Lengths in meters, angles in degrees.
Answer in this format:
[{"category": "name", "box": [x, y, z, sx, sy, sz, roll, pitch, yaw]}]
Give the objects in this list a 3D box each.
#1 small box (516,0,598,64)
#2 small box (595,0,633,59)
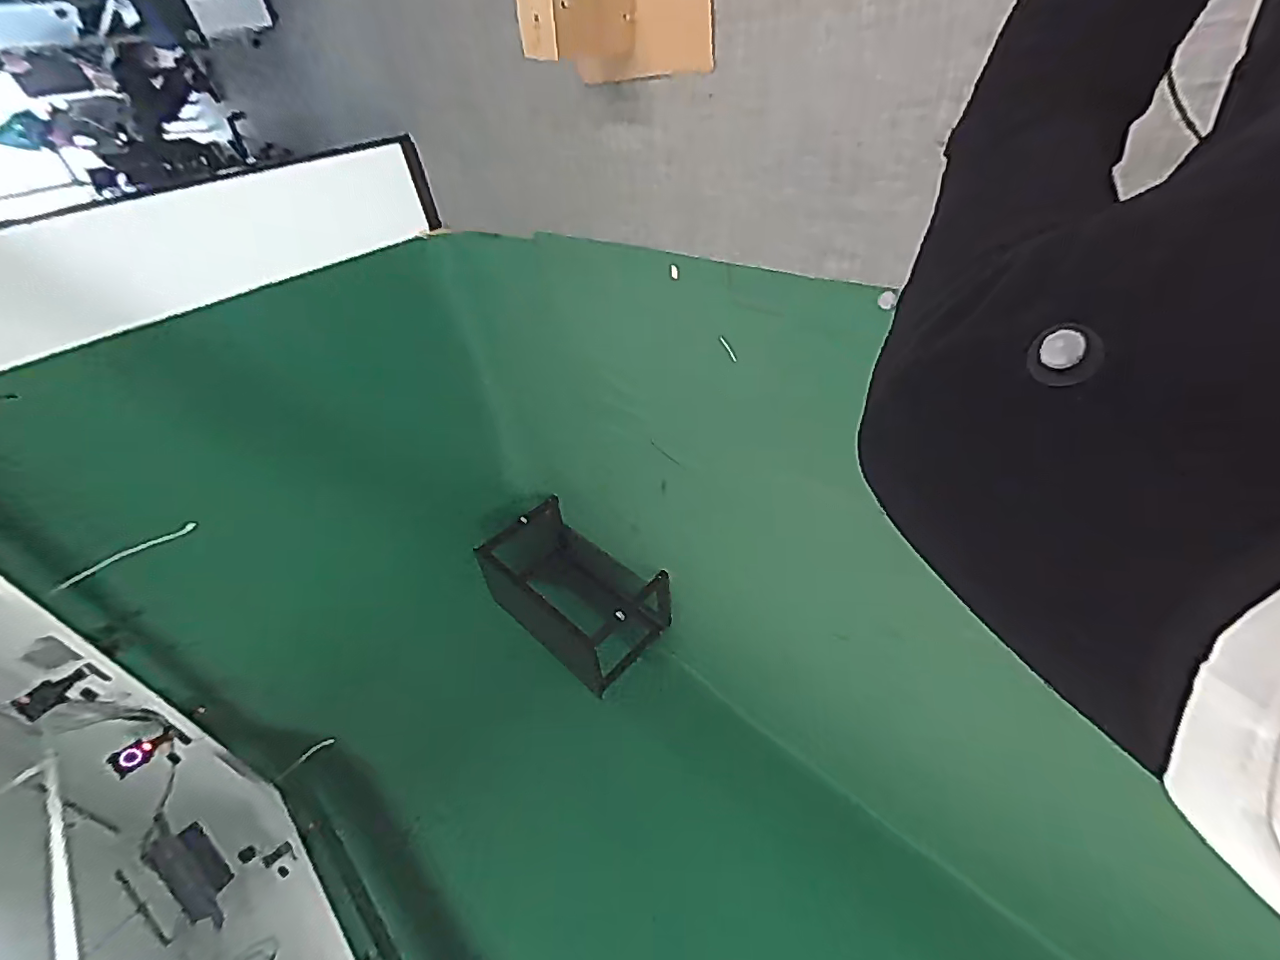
[{"category": "small box", "box": [-0.242, -1.356, 1.598, 0.168, 0.176, 0.179, 33, 144, 30]}, {"category": "small box", "box": [-0.133, -1.442, 1.689, 0.168, 0.176, 0.179, 33, 143, 30]}]
